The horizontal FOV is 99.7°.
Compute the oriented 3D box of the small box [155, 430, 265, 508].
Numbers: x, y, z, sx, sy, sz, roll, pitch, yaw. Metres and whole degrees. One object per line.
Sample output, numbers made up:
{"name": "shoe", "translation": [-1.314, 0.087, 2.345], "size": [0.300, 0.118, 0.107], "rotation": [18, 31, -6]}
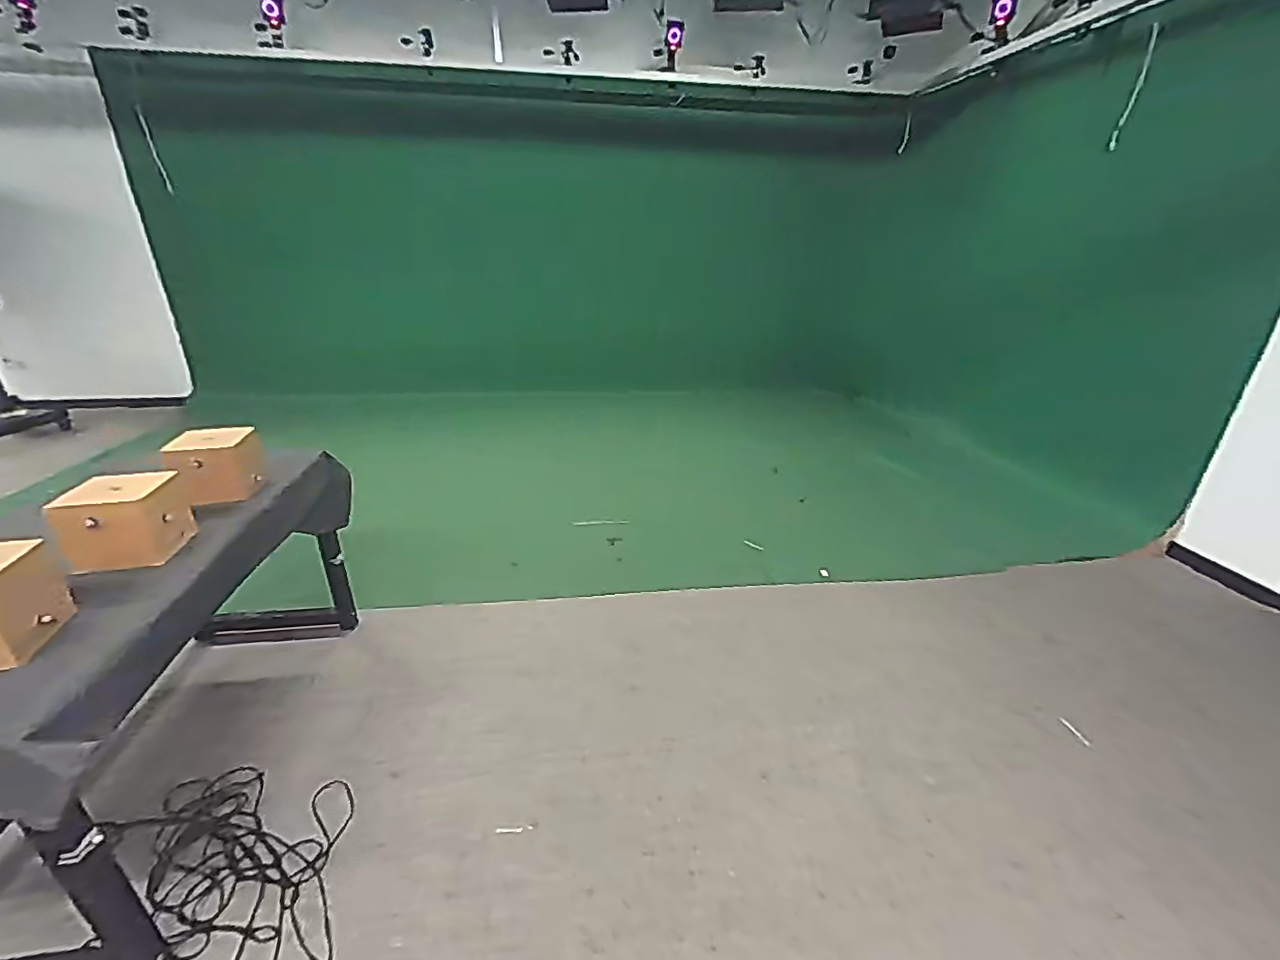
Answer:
{"name": "small box", "translation": [-1.202, -0.031, 1.527], "size": [0.179, 0.176, 0.168], "rotation": [-5, 26, -14]}

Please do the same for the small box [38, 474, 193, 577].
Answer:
{"name": "small box", "translation": [-1.174, 0.101, 1.230], "size": [0.179, 0.176, 0.168], "rotation": [-5, 25, -12]}
